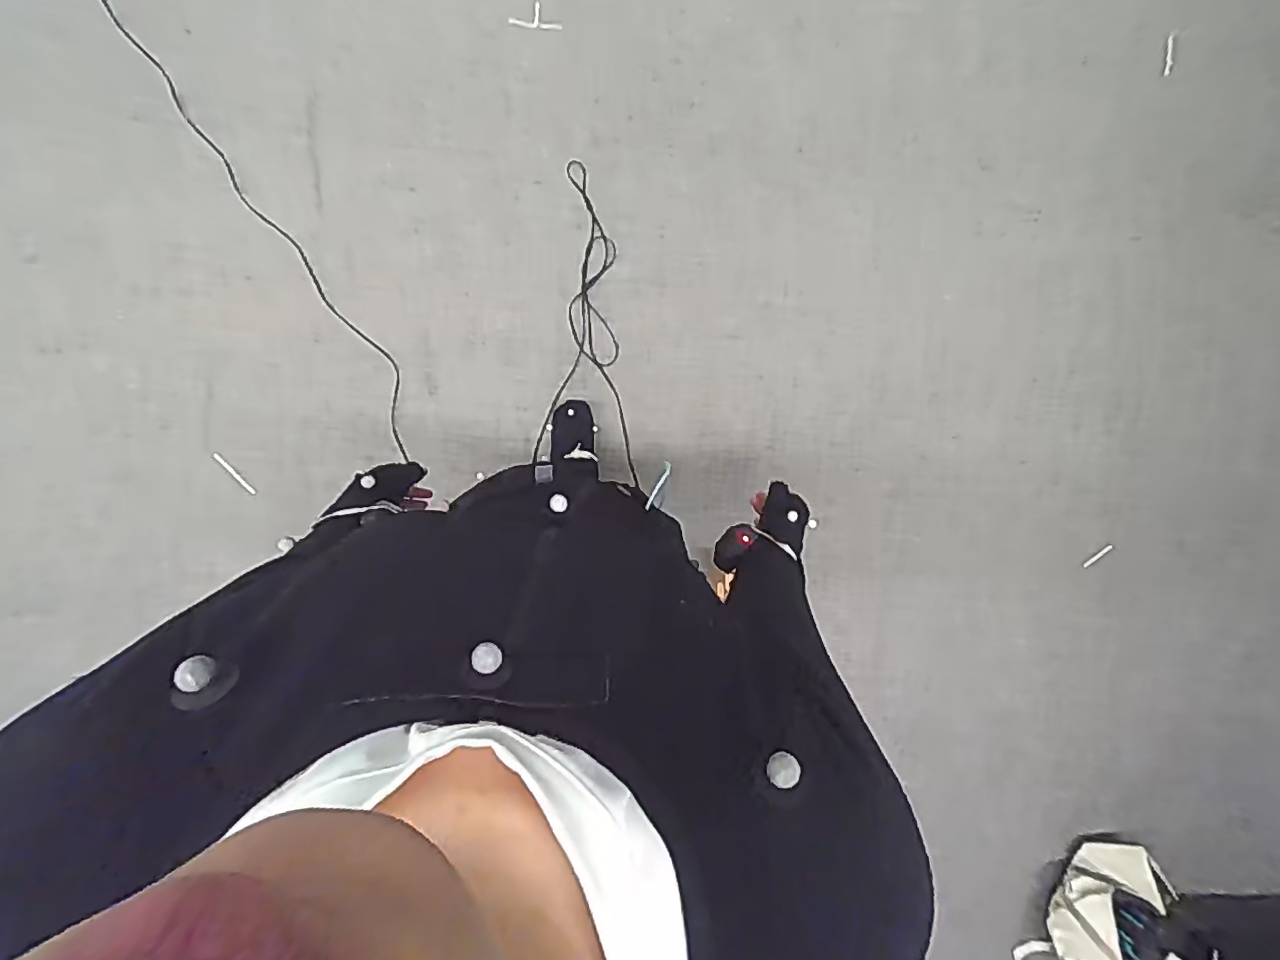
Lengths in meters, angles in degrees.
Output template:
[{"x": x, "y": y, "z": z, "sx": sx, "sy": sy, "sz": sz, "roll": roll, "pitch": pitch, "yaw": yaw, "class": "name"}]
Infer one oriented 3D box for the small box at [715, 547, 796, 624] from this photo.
[{"x": 0.295, "y": 0.271, "z": 1.416, "sx": 0.179, "sy": 0.176, "sz": 0.168, "roll": -2, "pitch": 94, "yaw": -4, "class": "small box"}]
